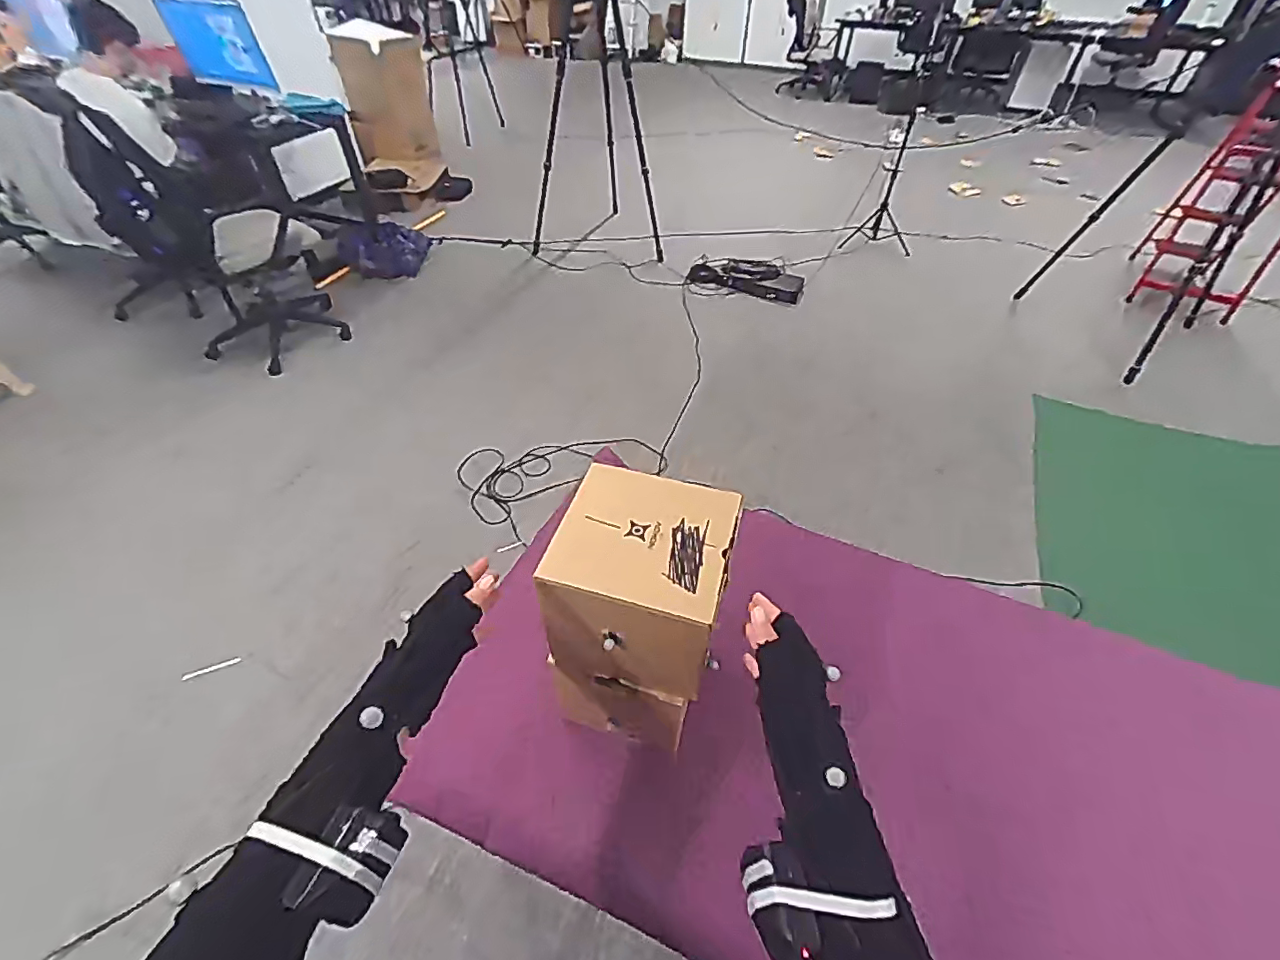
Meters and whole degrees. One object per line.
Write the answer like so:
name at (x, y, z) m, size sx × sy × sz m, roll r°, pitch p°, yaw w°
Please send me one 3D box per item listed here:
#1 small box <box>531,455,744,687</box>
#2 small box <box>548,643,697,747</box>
small box at (0.002, 0.104, 0.602) m, size 0.179 × 0.176 × 0.168 m, roll 15°, pitch 46°, yaw 13°
small box at (-0.007, 0.221, 0.721) m, size 0.168 × 0.176 × 0.179 m, roll 13°, pitch 48°, yaw 12°
